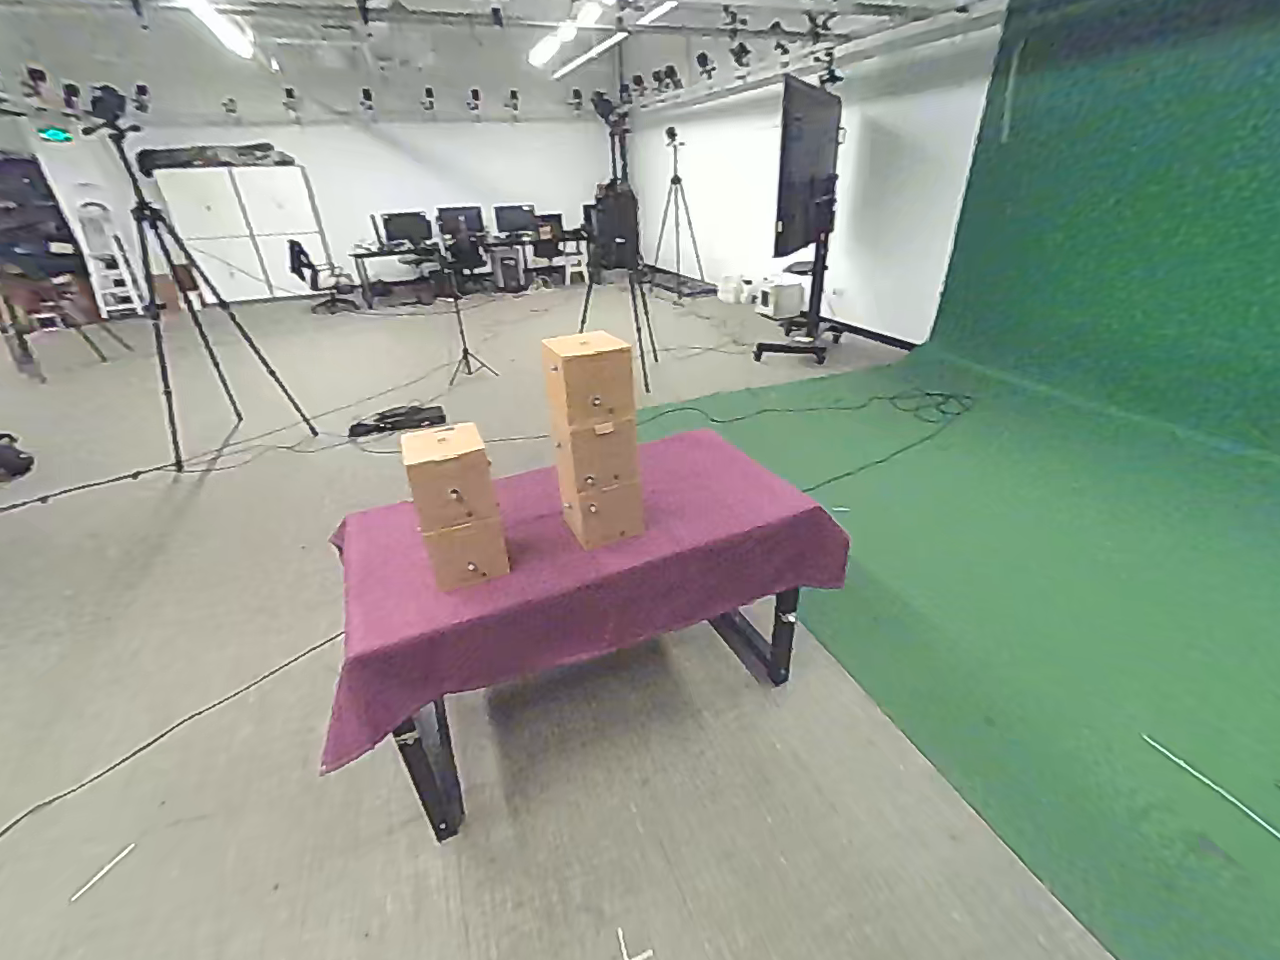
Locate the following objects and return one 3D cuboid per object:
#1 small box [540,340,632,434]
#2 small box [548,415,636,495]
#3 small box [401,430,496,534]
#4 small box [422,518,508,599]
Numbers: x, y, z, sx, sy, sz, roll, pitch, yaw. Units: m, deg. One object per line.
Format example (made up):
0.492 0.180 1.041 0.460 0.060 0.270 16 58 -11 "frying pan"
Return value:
-0.128 -0.223 1.278 0.168 0.176 0.179 -15 31 -22 "small box"
-0.118 -0.075 1.347 0.168 0.176 0.179 -15 29 -21 "small box"
-0.432 0.008 1.223 0.168 0.176 0.179 -14 31 -20 "small box"
-0.423 0.154 1.298 0.168 0.176 0.179 -14 30 -19 "small box"
